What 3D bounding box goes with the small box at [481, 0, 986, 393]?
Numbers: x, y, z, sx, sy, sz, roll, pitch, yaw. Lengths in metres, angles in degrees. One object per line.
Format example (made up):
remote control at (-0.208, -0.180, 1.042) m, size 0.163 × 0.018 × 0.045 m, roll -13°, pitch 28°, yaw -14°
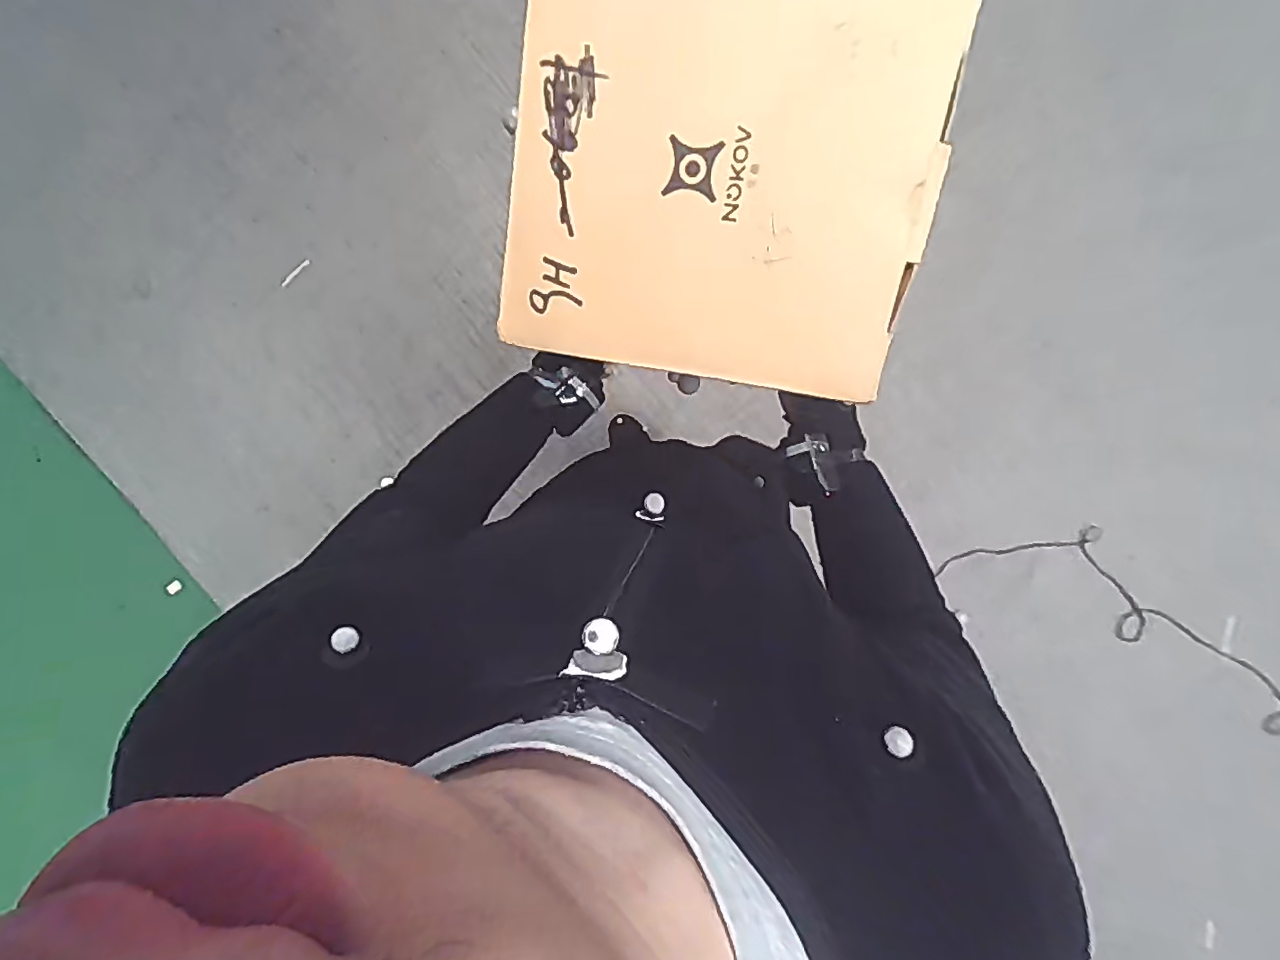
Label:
small box at (0.037, -0.150, 0.292) m, size 0.179 × 0.176 × 0.168 m, roll 12°, pitch 104°, yaw 4°
